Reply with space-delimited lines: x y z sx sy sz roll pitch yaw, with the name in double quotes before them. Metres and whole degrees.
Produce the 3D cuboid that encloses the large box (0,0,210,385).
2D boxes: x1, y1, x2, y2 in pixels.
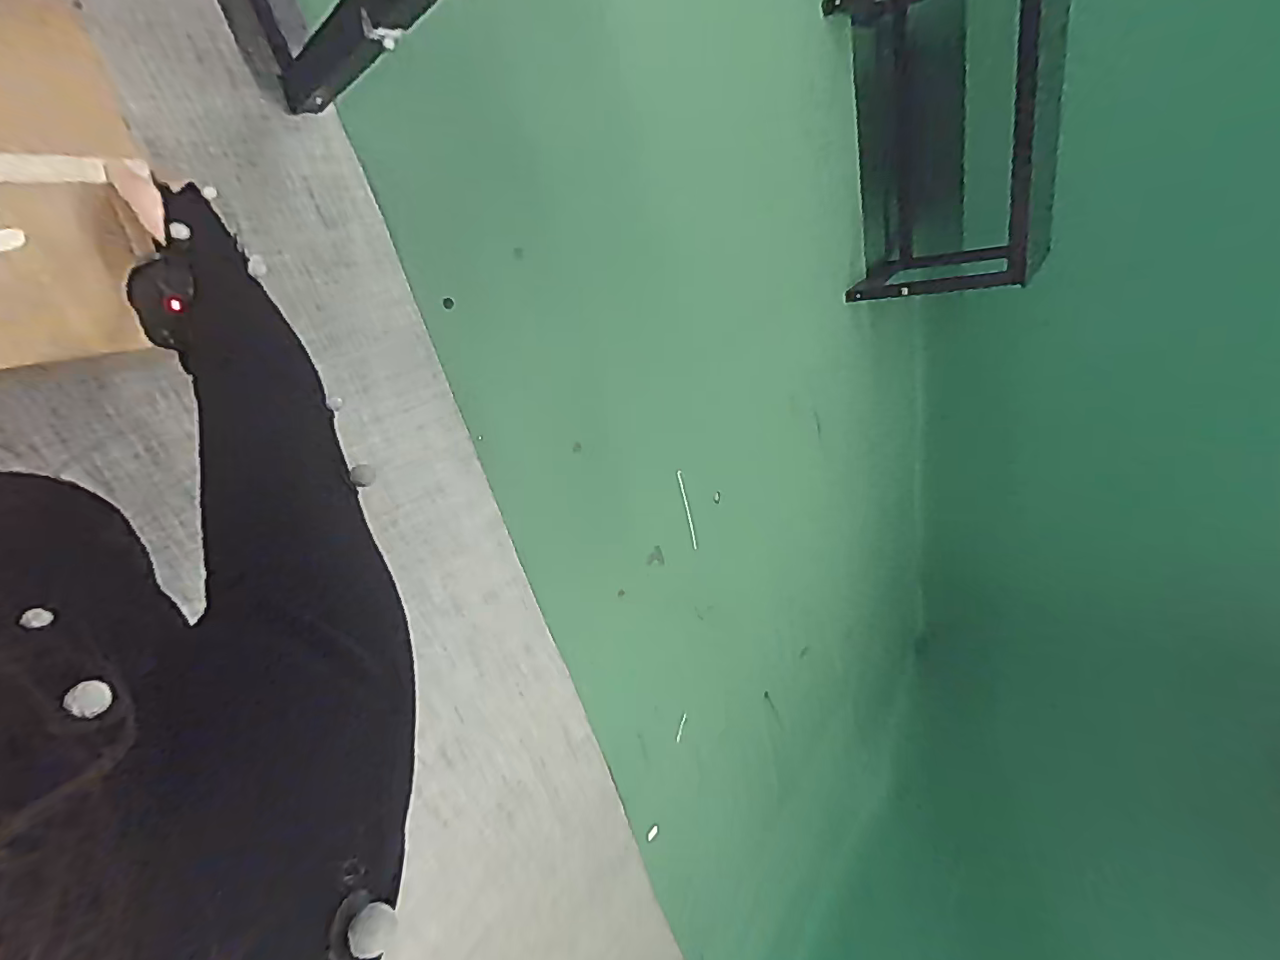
"large box" -0.707 -0.228 0.464 0.408 0.320 0.320 -32 117 -46
